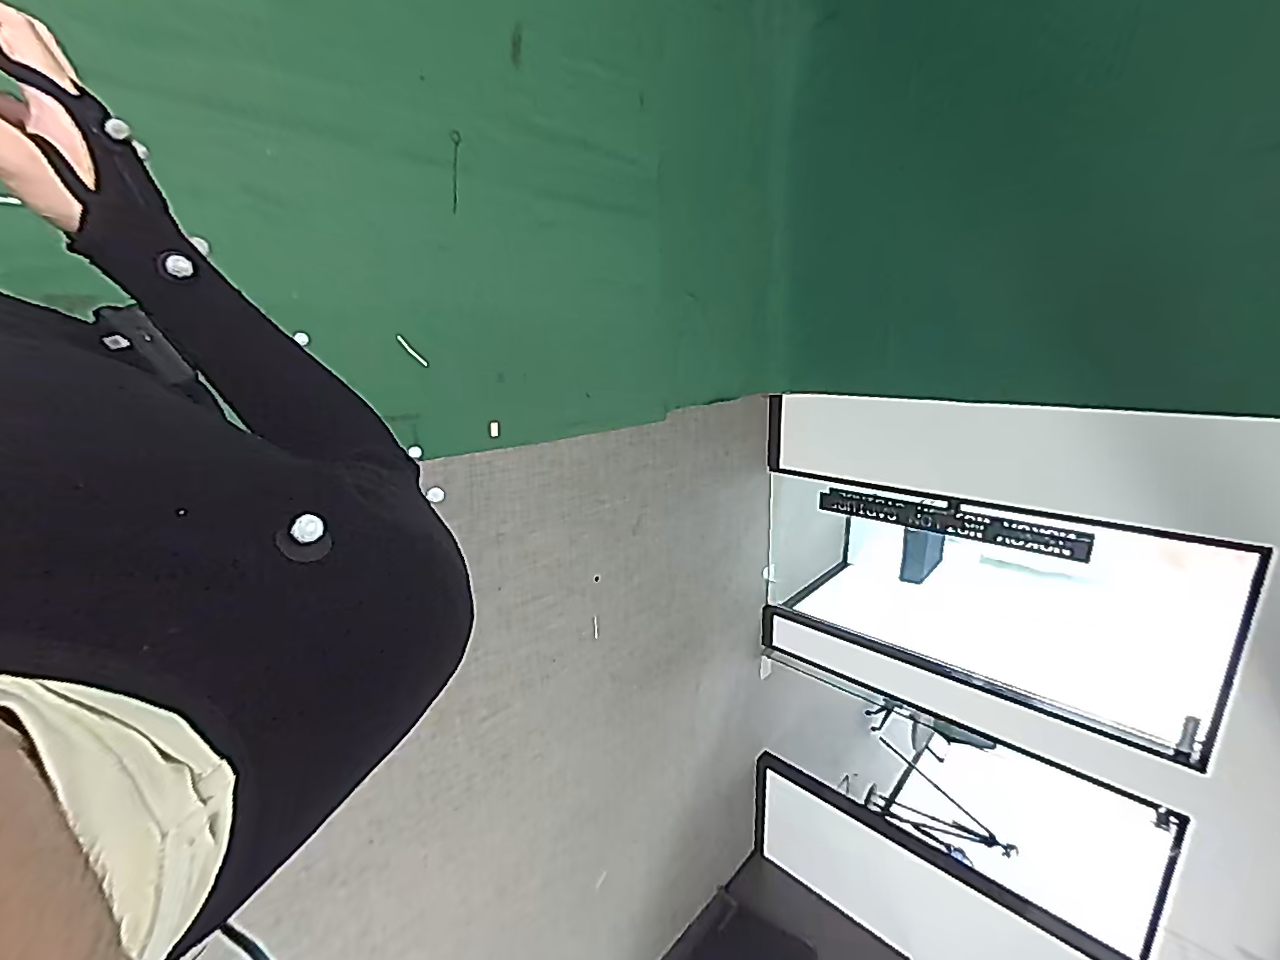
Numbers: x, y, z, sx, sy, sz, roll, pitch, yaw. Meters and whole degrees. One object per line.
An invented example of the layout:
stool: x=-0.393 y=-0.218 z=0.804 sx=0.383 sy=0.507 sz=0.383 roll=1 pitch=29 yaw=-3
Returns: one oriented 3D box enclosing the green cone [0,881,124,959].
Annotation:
green cone: x=-1.220 y=1.084 z=1.127 sx=0.202 sy=0.368 sz=0.200 roll=-15 pitch=109 yaw=-43
